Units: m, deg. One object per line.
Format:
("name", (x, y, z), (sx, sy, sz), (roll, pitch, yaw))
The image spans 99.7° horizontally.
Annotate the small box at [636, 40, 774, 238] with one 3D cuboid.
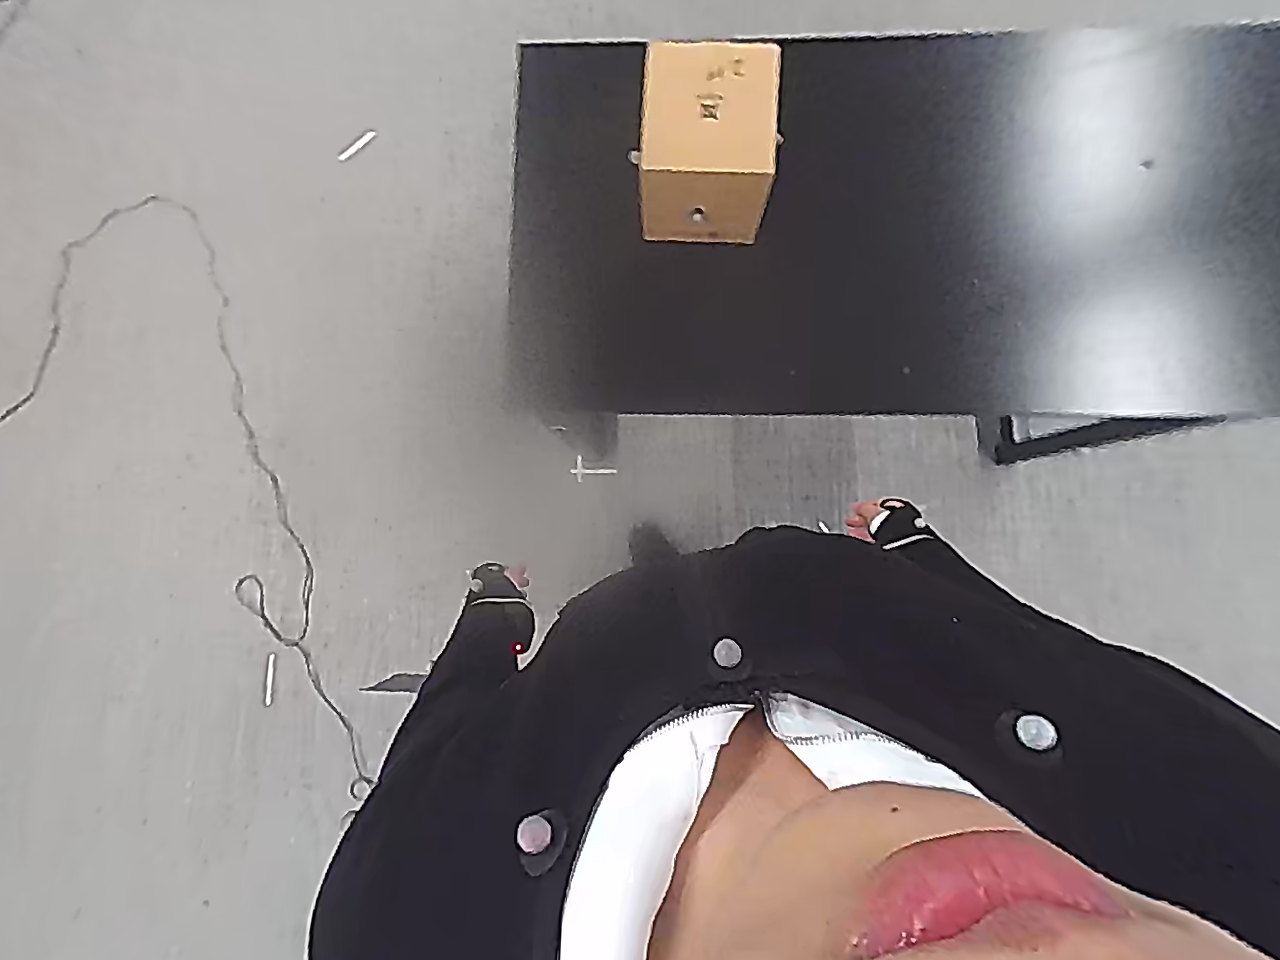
("small box", (0.086, -0.461, 0.753), (0.168, 0.176, 0.179), (3, 84, 3))
